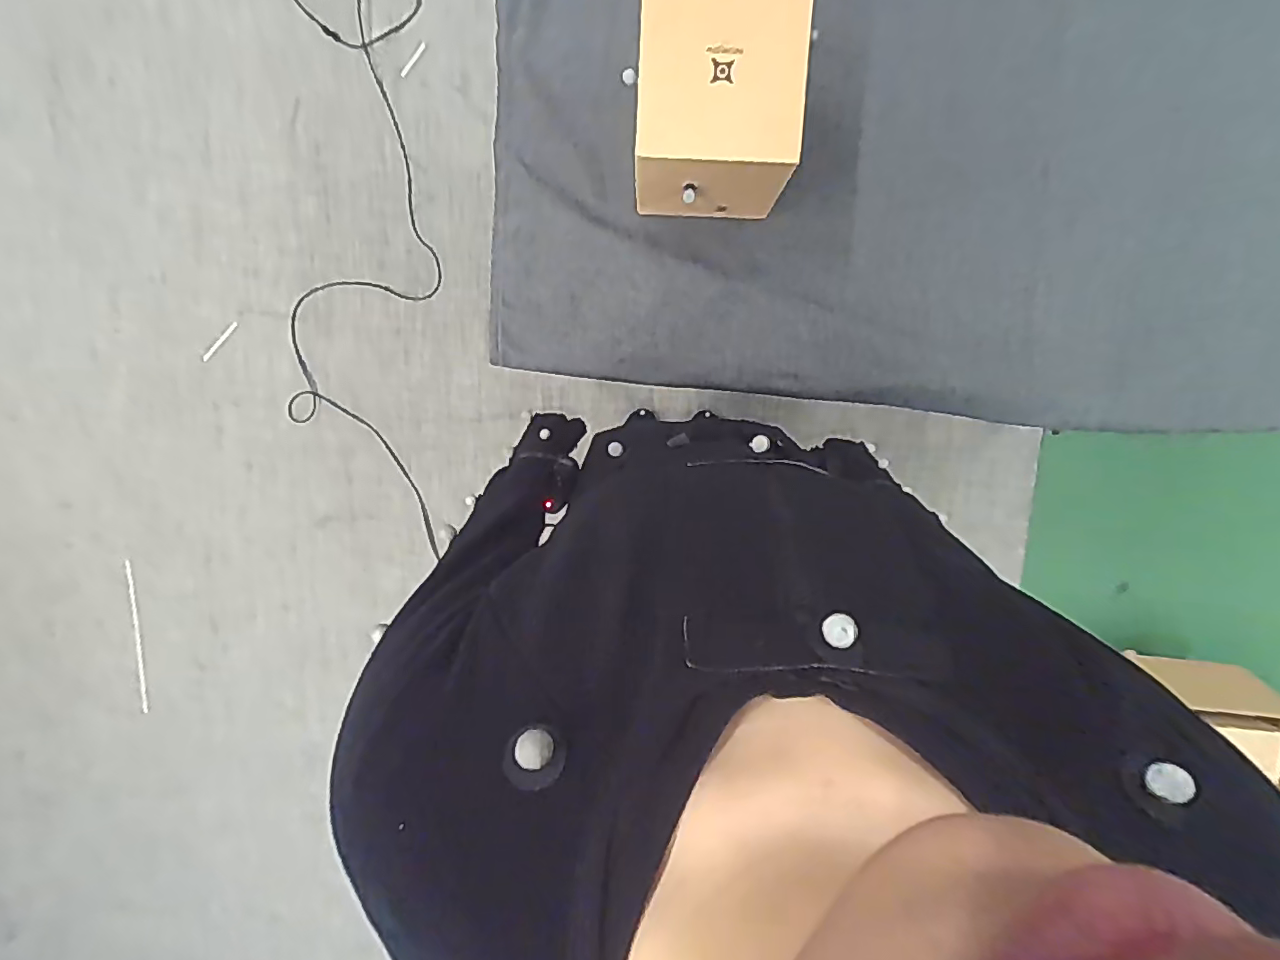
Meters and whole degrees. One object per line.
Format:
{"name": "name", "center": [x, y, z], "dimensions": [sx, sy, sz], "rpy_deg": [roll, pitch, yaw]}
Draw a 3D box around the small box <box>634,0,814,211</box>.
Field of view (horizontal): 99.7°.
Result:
{"name": "small box", "center": [0.083, -0.416, 0.598], "dimensions": [0.168, 0.176, 0.179], "rpy_deg": [3, 97, 1]}
